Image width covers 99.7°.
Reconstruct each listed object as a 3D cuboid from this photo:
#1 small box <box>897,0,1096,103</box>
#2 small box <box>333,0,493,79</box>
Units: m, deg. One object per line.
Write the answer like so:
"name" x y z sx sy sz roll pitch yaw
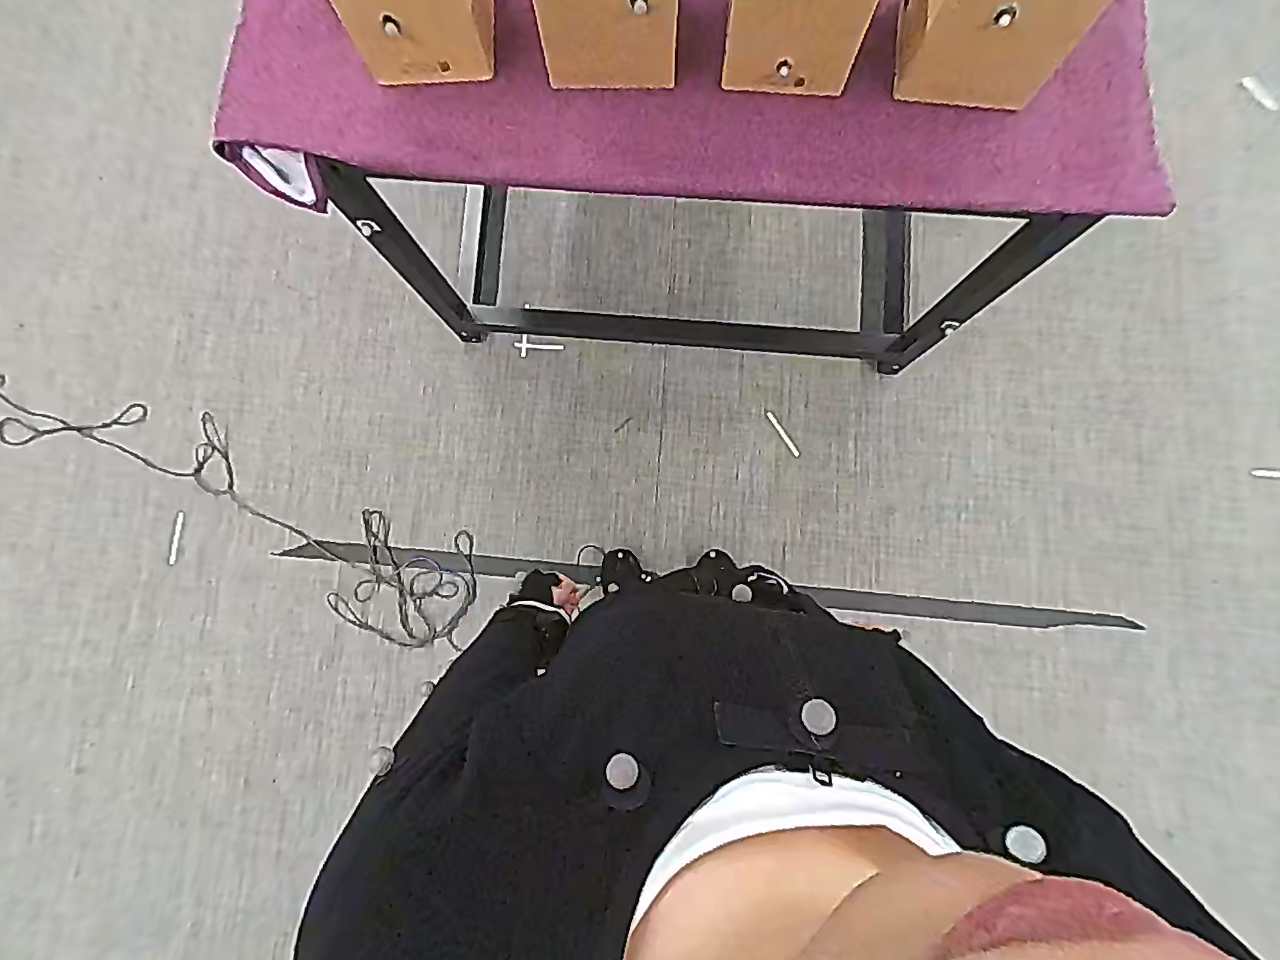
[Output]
"small box" 0.441 -0.609 0.670 0.179 0.176 0.168 7 82 2
"small box" -0.294 -0.660 0.701 0.168 0.176 0.179 -2 82 1
